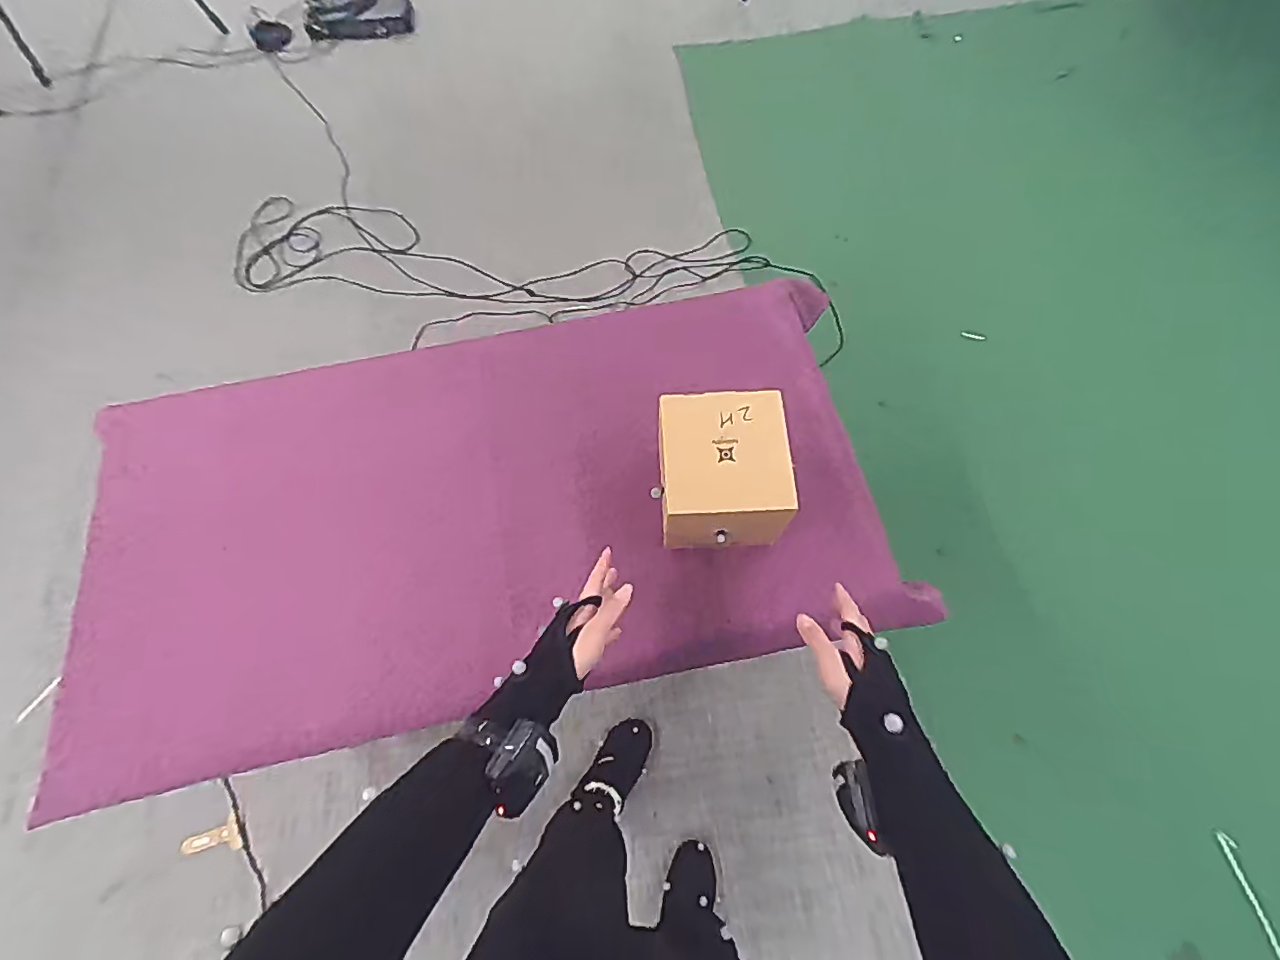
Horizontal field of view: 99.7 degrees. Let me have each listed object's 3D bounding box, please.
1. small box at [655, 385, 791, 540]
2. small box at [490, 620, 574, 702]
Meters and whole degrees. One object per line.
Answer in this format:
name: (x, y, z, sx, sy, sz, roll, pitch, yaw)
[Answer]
small box: (0.108, -0.015, 0.772, 0.168, 0.176, 0.179, -2, 68, 1)
small box: (-0.268, 0.462, 1.374, 0.179, 0.176, 0.168, -11, 67, -2)
